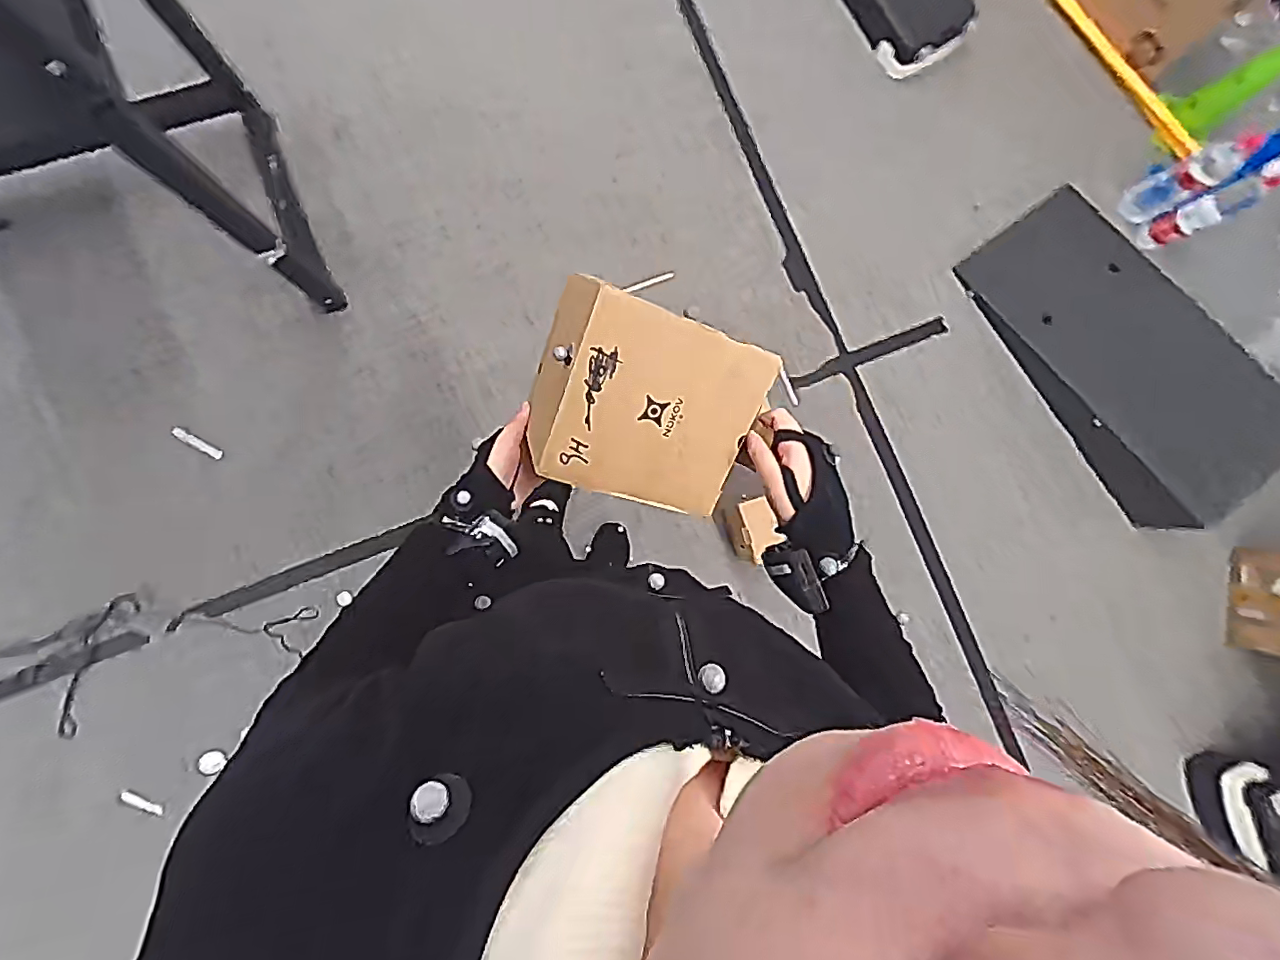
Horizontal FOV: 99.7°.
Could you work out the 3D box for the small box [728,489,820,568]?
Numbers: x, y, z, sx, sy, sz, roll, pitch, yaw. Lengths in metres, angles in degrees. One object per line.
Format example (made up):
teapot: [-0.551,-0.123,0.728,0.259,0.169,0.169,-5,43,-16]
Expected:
small box: [0.349,0.128,1.454,0.179,0.176,0.168,-17,89,-7]

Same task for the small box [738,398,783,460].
small box: [0.253,-0.138,1.456,0.179,0.176,0.168,-20,90,-7]

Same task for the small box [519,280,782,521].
small box: [-0.004,-0.084,0.523,0.179,0.176,0.168,15,107,-23]
